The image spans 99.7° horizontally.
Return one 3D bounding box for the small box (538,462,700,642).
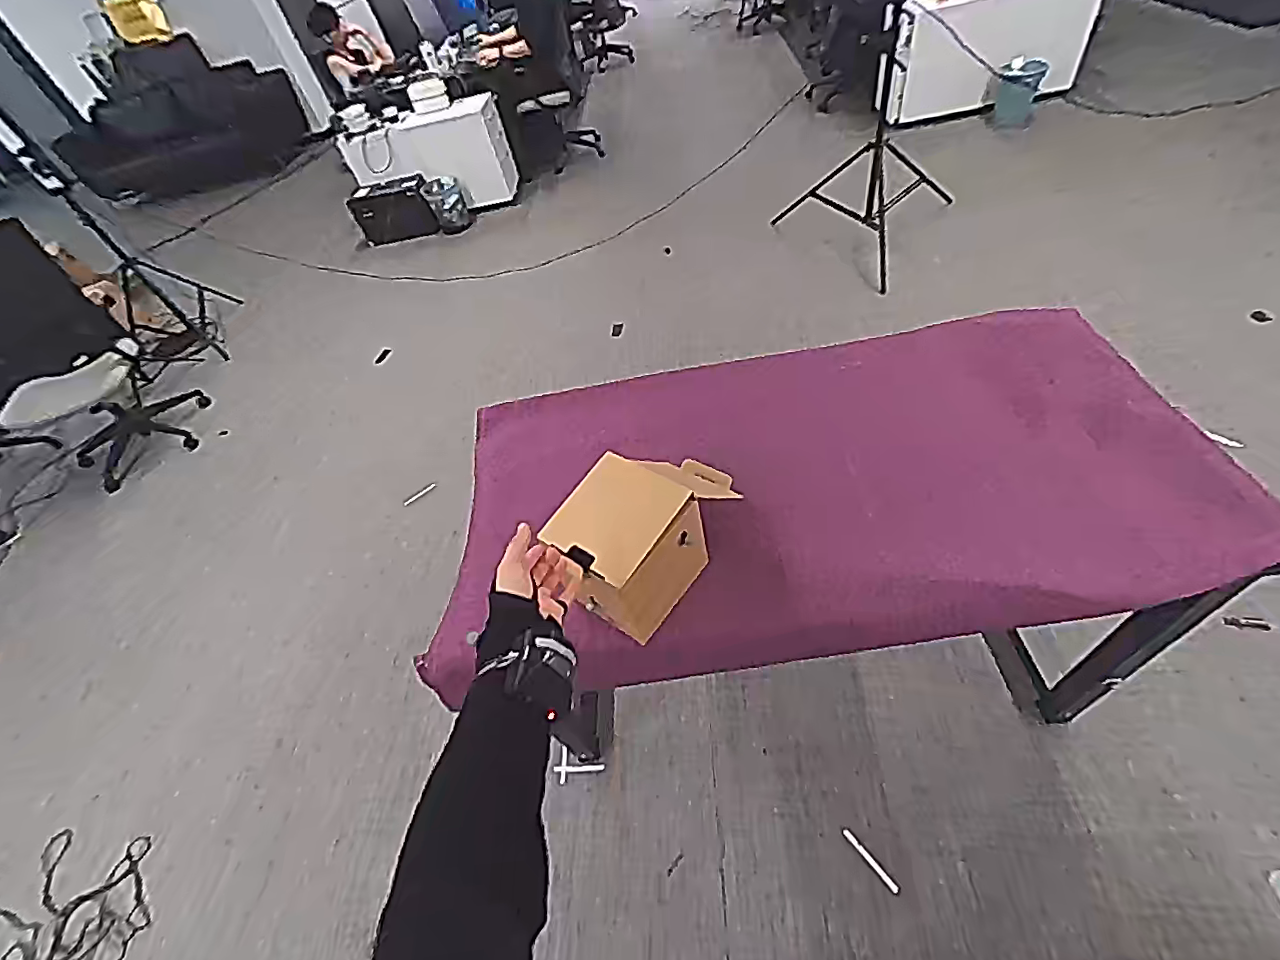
[{"bbox_3d":[-0.021,0.110,0.829,0.168,0.176,0.179,25,59,32],"label":"small box"}]
